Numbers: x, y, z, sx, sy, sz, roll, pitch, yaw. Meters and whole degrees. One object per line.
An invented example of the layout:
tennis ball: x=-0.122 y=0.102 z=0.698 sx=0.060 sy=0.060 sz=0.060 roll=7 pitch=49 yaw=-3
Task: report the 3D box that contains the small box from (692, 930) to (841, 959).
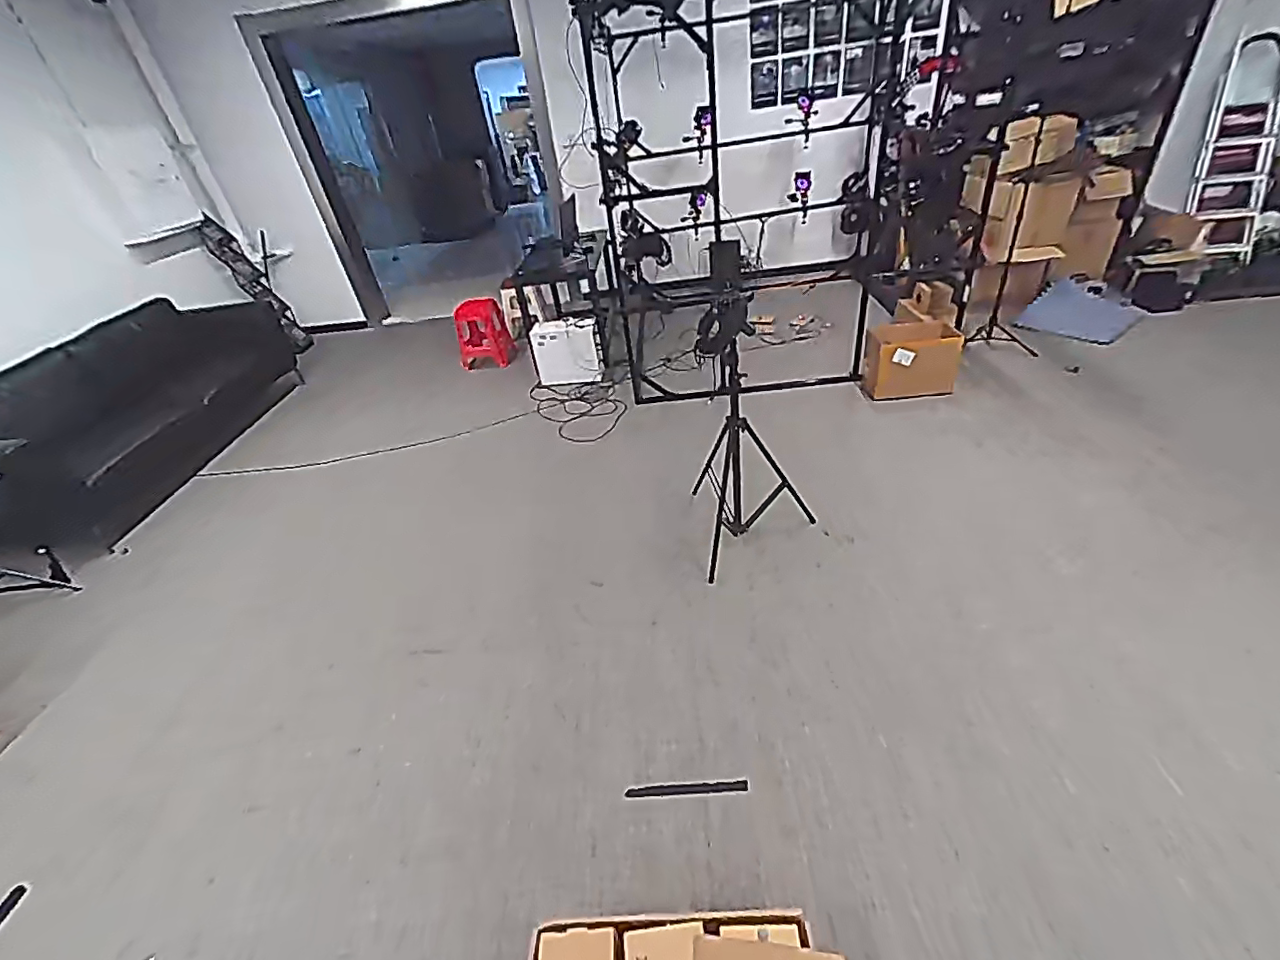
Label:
small box: x=0.142 y=0.651 z=0.631 sx=0.168 sy=0.176 sz=0.179 roll=4 pitch=51 yaw=5
